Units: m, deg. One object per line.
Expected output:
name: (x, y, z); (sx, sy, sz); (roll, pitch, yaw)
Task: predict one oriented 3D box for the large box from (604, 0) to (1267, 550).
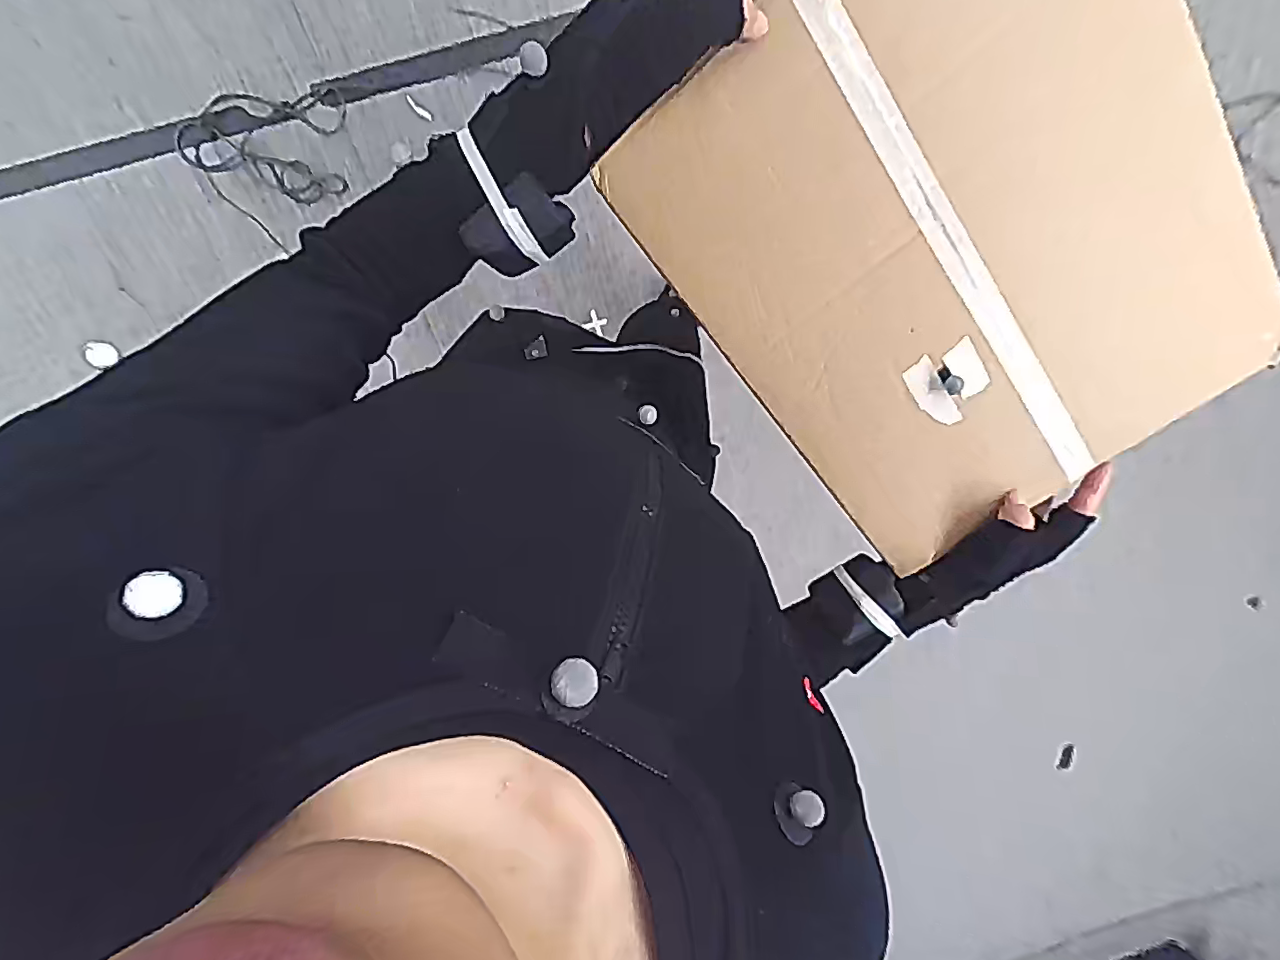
large box: (0.217, -0.222, 0.509); (0.320, 0.320, 0.408); (-36, 110, 18)
